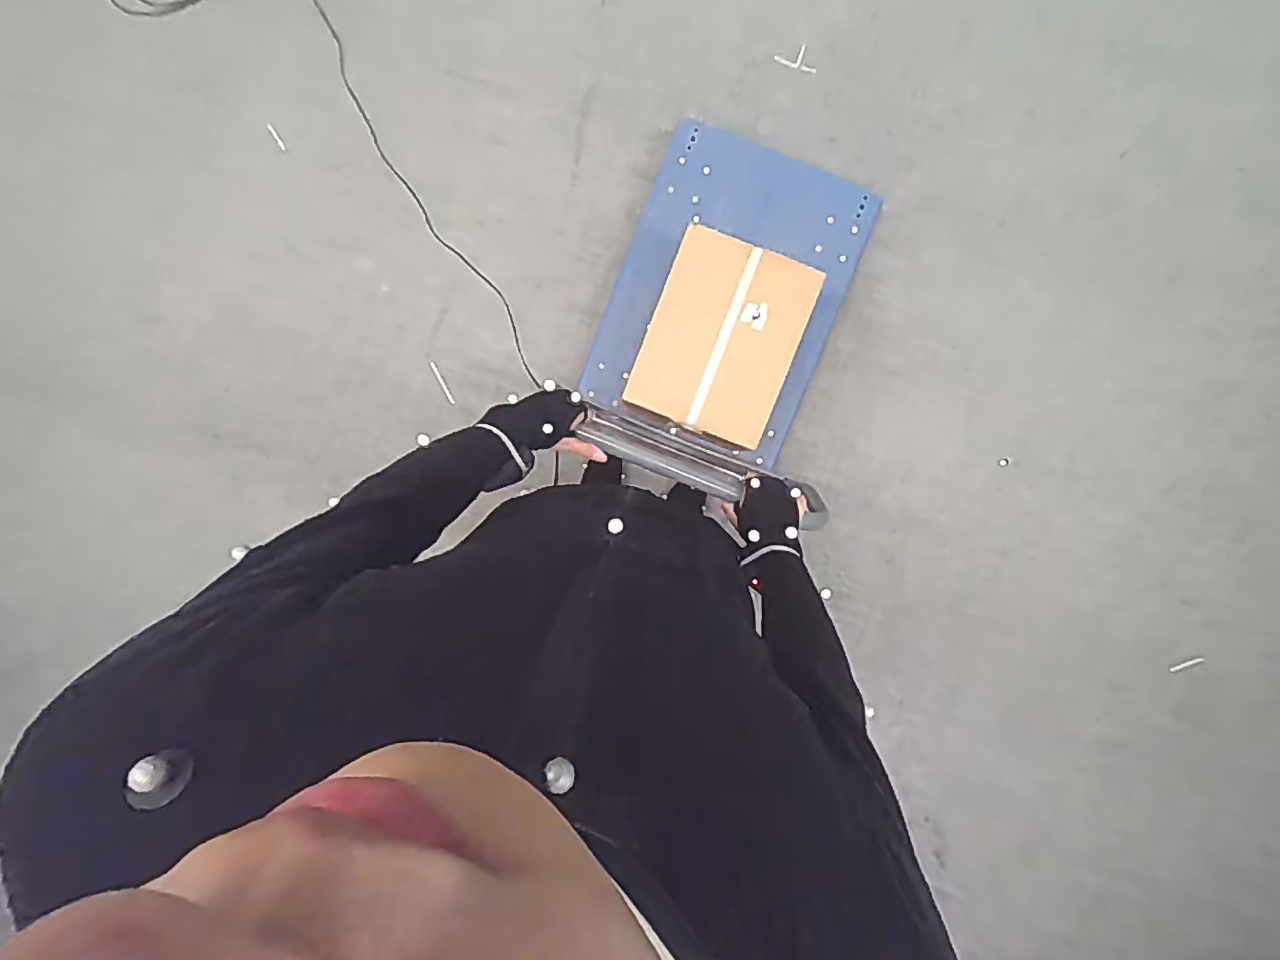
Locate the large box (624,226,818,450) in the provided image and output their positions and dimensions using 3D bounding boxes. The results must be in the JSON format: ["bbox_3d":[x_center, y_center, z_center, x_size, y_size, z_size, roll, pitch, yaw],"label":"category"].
[{"bbox_3d":[0.177,-0.311,1.313,0.320,0.320,0.408,22,92,0],"label":"large box"}]
